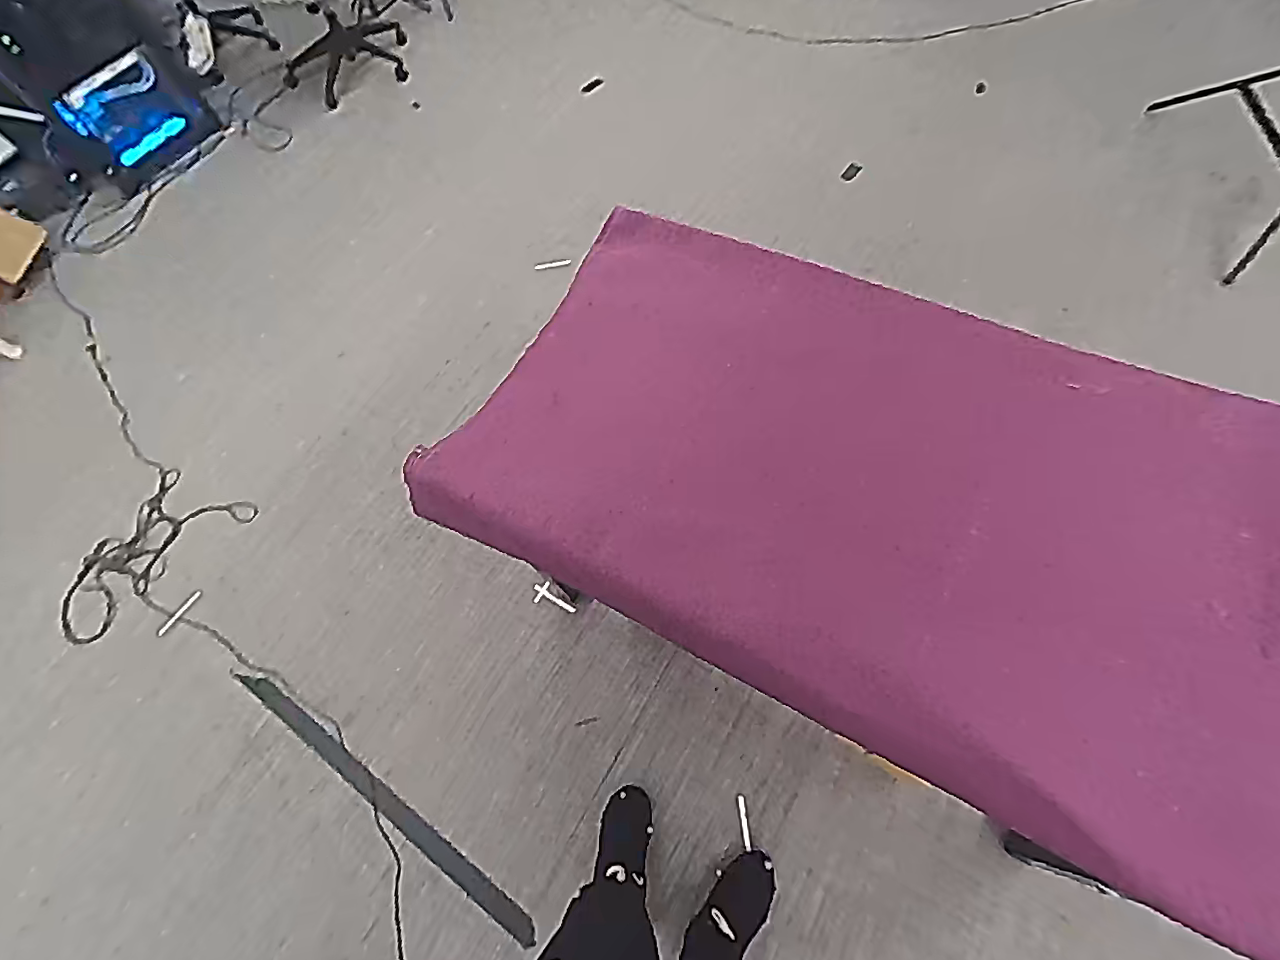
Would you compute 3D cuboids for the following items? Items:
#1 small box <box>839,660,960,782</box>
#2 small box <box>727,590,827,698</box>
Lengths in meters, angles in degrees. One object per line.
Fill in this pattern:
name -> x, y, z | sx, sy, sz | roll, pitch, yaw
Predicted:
small box -> 0.555, 0.526, 1.182 | 0.168, 0.176, 0.179 | 30, 70, 19
small box -> 0.314, 0.392, 1.271 | 0.168, 0.176, 0.179 | 28, 69, 17
